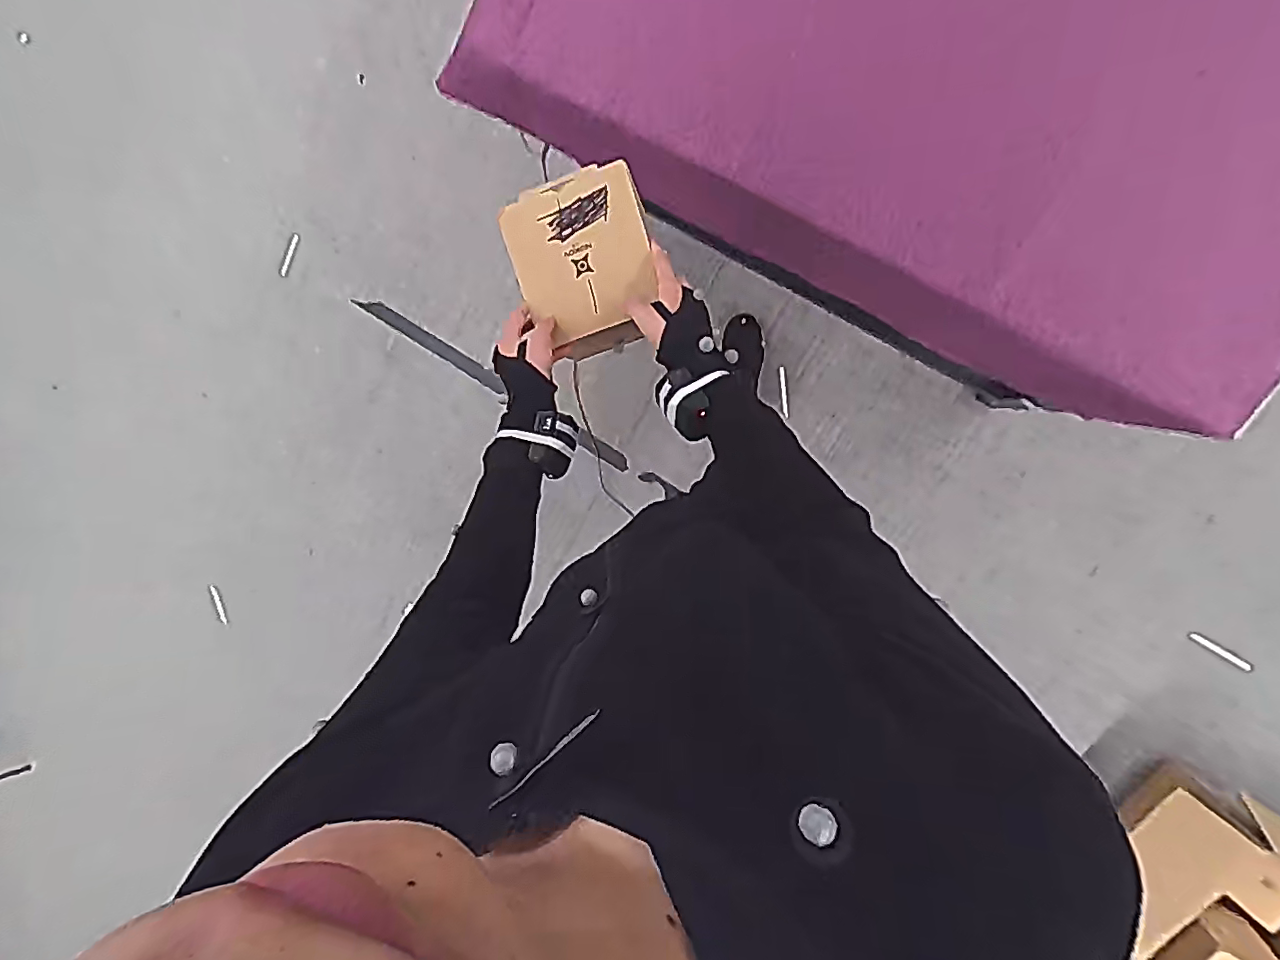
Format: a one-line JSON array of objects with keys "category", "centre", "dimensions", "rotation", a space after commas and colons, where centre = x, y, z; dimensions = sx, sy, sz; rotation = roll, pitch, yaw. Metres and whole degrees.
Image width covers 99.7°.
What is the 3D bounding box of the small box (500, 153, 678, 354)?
[{"category": "small box", "centre": [-0.055, -0.278, 0.709], "dimensions": [0.168, 0.176, 0.179], "rotation": [-17, 97, 11]}]
